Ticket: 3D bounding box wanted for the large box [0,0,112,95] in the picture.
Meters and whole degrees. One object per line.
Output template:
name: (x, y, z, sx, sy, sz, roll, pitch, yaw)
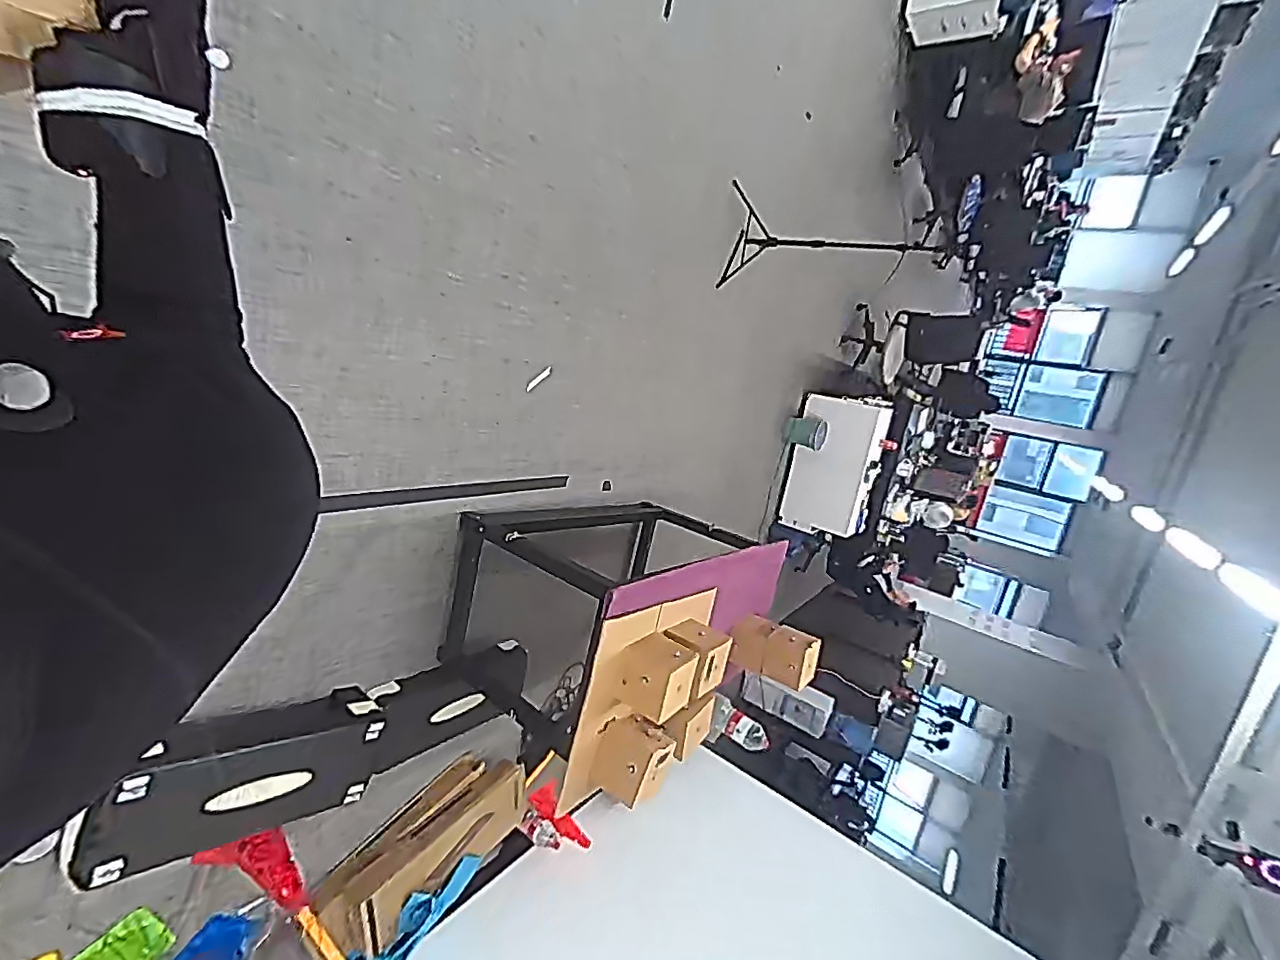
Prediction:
large box: (-0.564, -0.409, 0.225, 0.408, 0.320, 0.320, -20, 127, -54)
